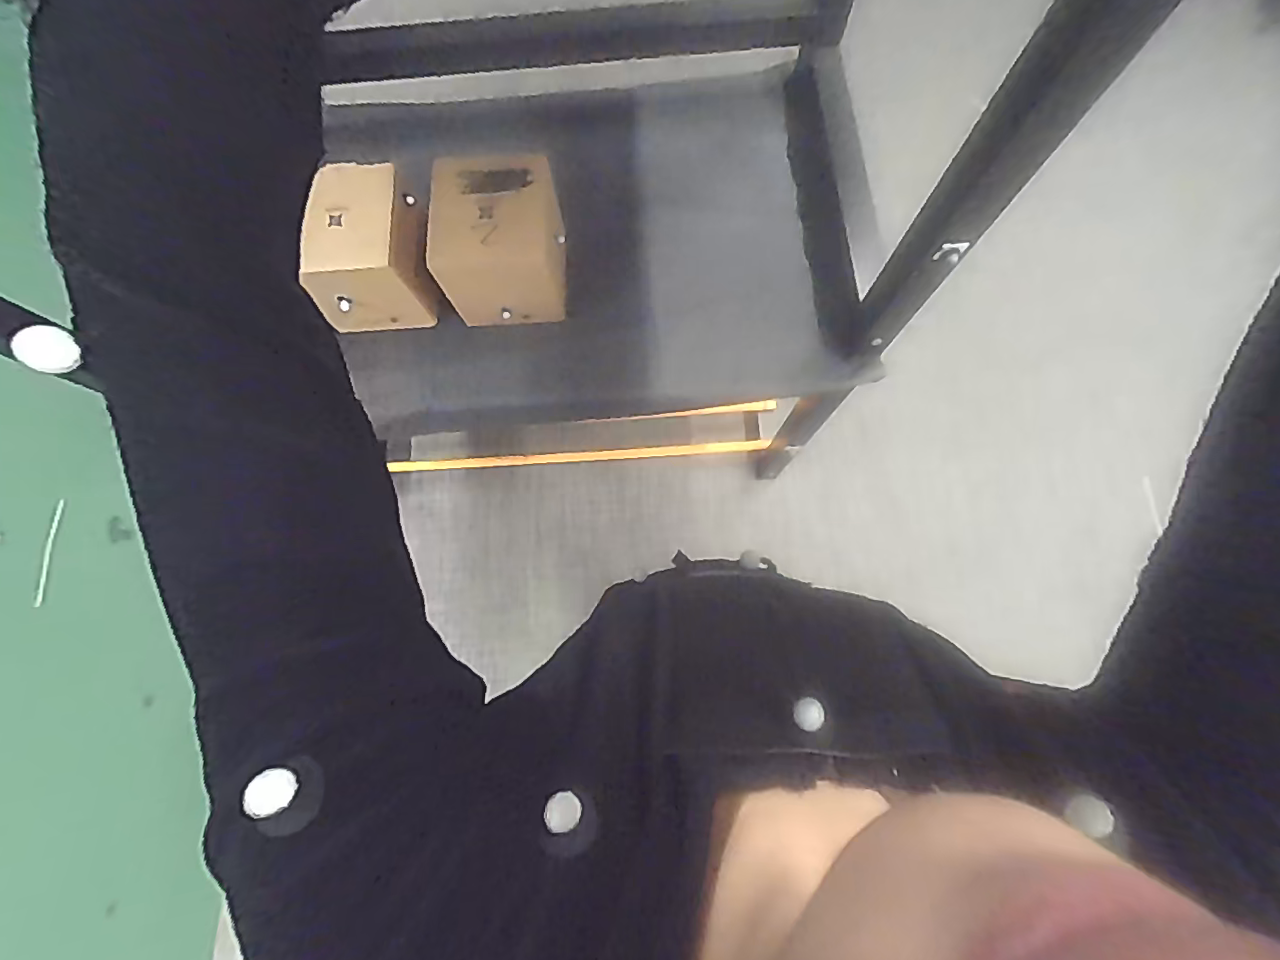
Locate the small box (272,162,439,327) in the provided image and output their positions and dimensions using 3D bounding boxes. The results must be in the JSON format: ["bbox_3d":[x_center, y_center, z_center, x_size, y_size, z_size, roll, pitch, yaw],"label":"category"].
[{"bbox_3d":[-0.424,-0.351,0.837,0.168,0.176,0.179,-3,75,1],"label":"small box"}]
